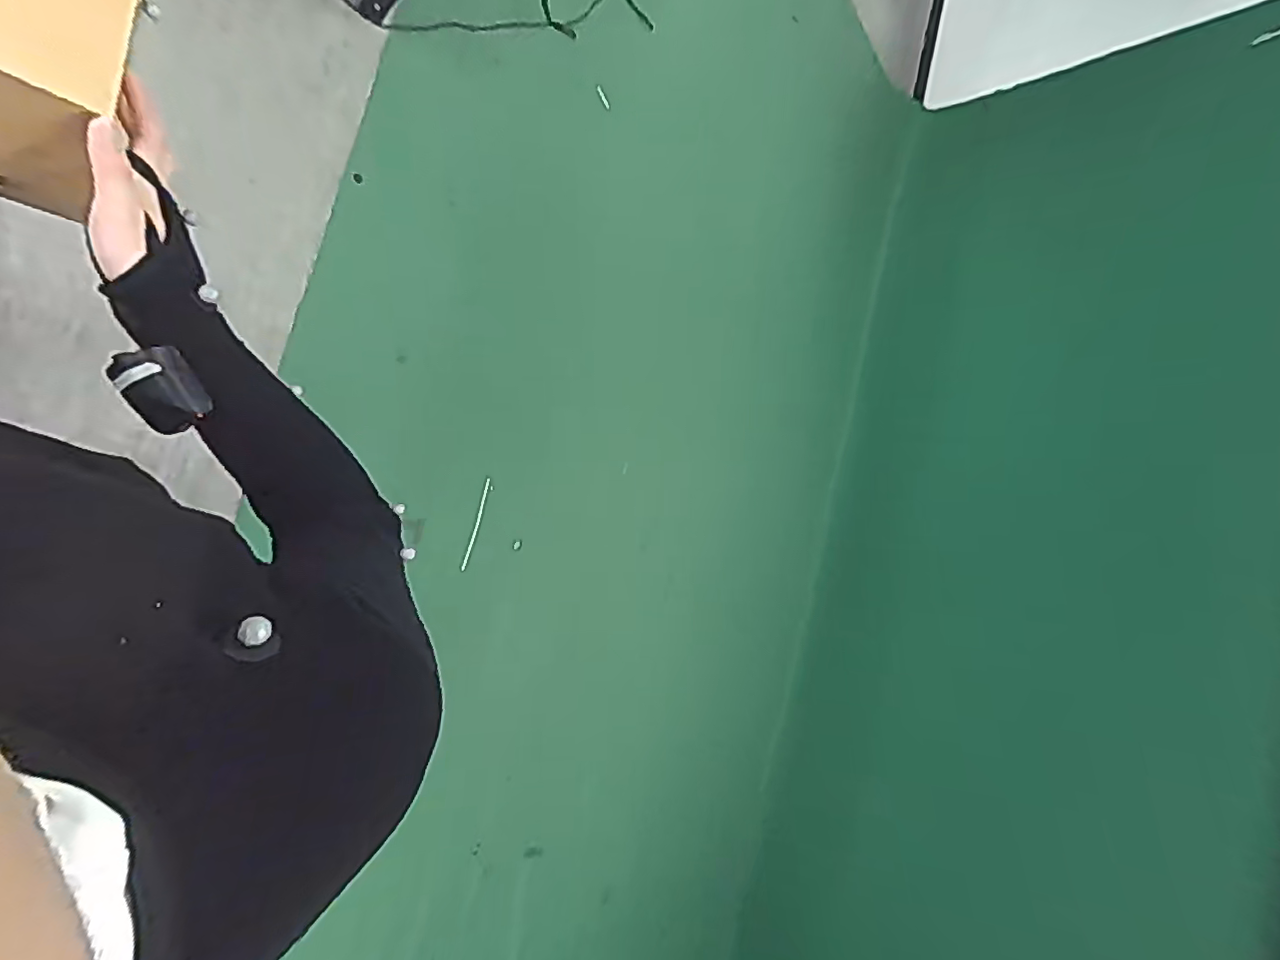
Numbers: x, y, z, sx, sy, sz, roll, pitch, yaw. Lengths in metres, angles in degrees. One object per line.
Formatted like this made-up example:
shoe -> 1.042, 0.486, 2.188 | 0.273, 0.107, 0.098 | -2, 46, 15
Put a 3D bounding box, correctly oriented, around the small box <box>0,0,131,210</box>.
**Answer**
small box -> -0.486, -0.335, 0.385 | 0.168, 0.176, 0.179 | 10, 73, -46
